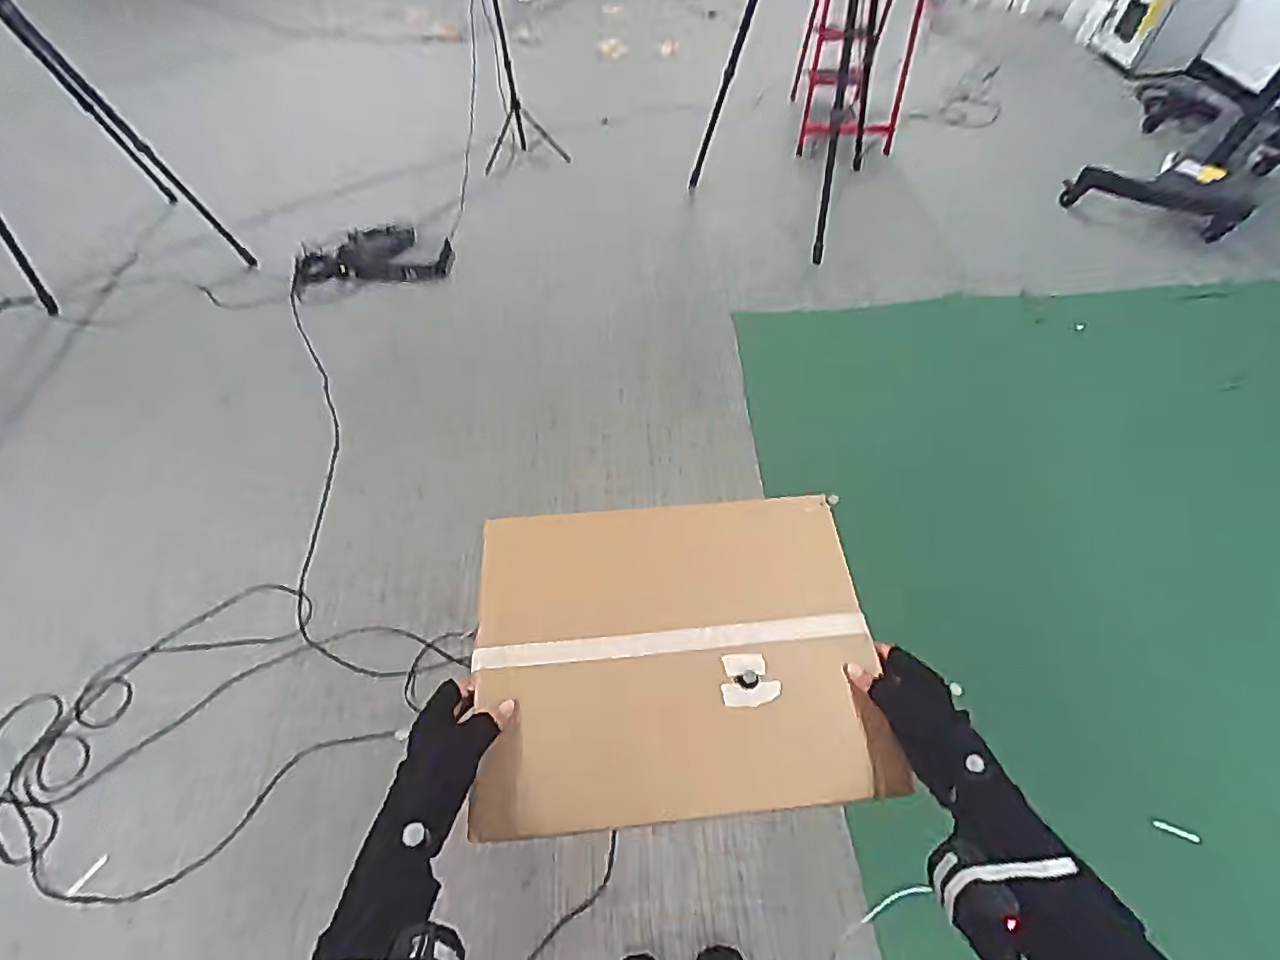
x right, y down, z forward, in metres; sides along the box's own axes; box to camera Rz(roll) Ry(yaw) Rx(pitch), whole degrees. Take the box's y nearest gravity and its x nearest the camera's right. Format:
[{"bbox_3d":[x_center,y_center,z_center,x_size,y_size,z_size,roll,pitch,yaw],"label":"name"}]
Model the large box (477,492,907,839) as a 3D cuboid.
[{"bbox_3d":[0.032,0.238,0.686,0.408,0.320,0.320,-5,60,-4],"label":"large box"}]
